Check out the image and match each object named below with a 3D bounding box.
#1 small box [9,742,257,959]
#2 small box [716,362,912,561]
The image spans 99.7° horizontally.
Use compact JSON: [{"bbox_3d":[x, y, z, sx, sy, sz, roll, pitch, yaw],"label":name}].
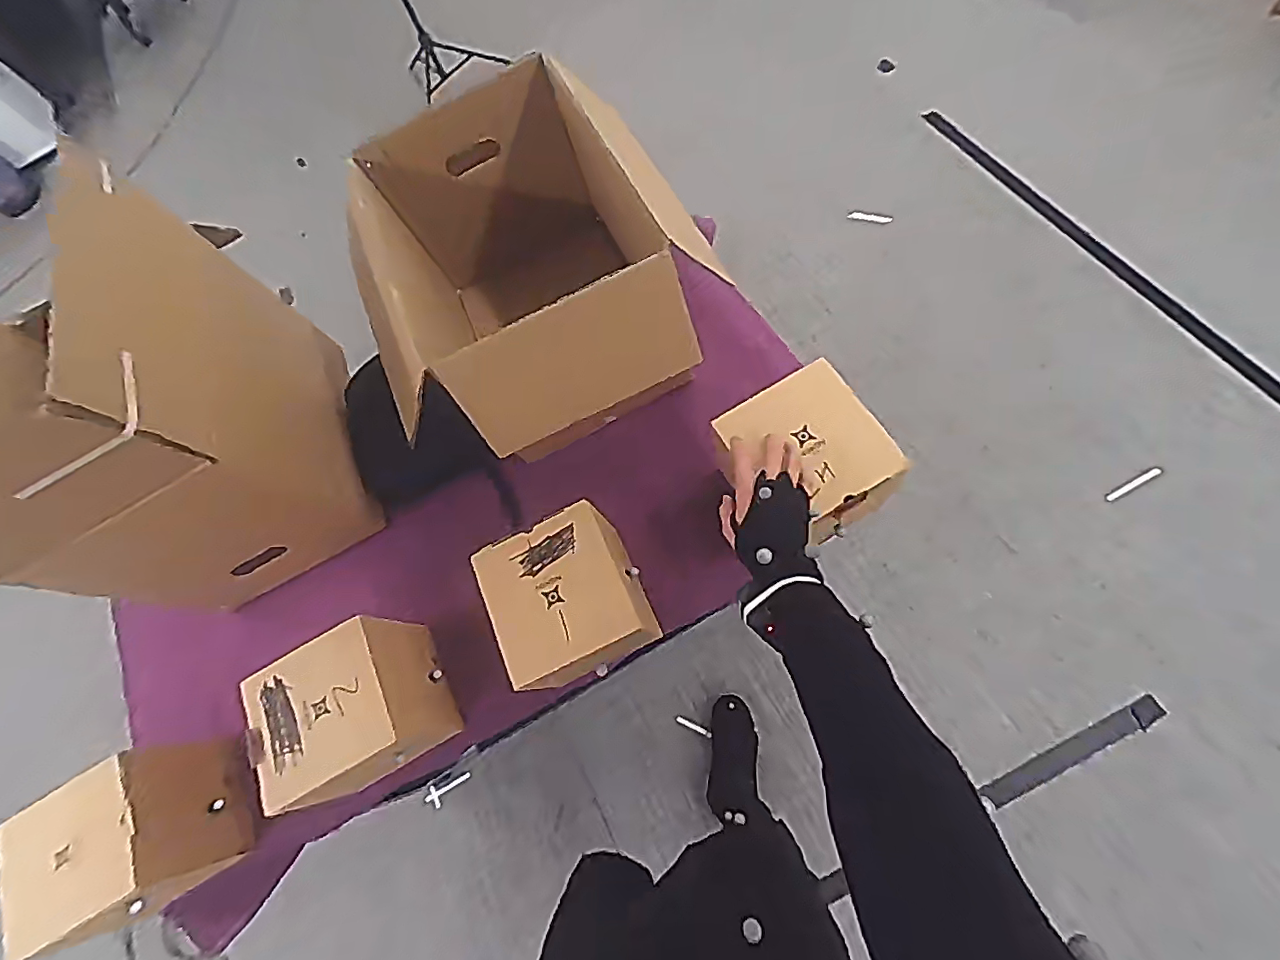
[{"bbox_3d":[-0.669,0.478,0.726,0.179,0.176,0.168,-31,67,-2],"label":"small box"},{"bbox_3d":[0.217,-0.015,0.718,0.168,0.176,0.179,-30,68,2],"label":"small box"}]
